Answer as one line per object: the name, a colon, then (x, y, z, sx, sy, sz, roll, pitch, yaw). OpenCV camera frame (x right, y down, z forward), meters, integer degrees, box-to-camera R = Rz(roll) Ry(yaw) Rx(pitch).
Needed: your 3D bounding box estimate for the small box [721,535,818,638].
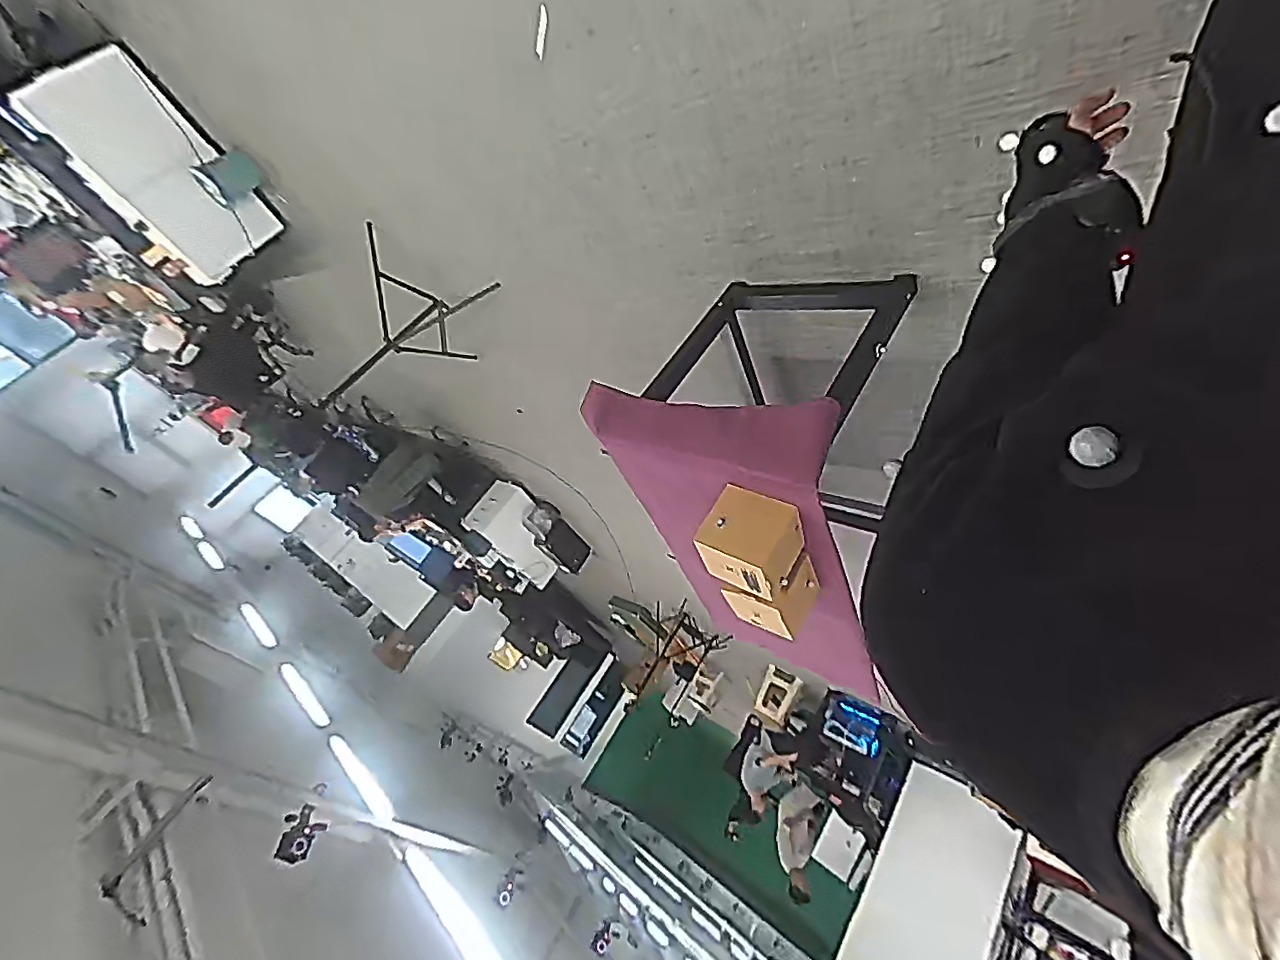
small box: (0.337, 0.266, 1.384, 0.168, 0.176, 0.179, 15, 149, 40)
